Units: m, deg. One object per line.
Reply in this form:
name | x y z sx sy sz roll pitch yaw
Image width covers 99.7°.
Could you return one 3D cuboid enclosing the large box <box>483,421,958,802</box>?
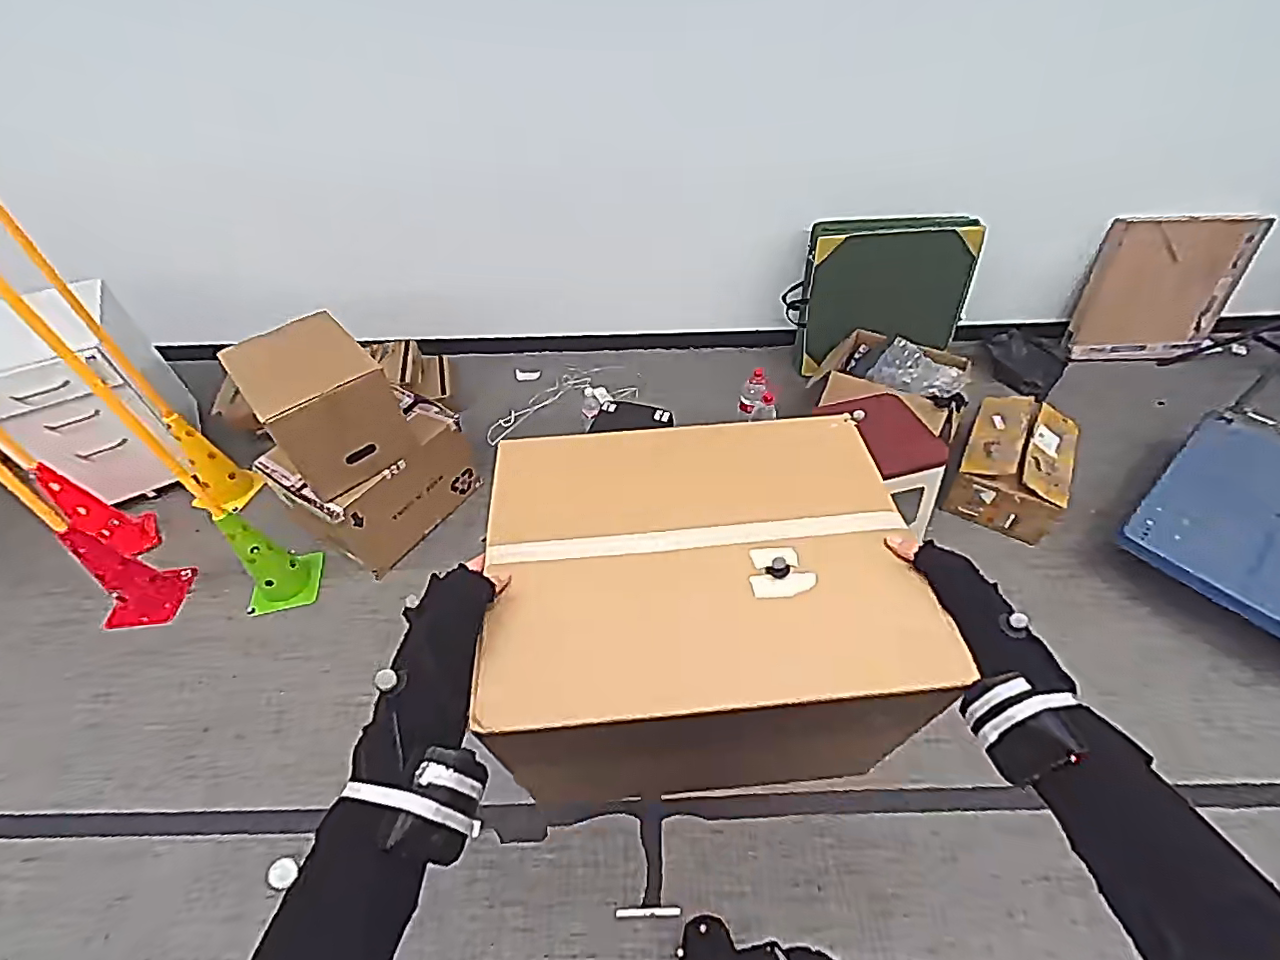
large box | 0.057 0.160 0.646 0.408 0.320 0.320 -5 50 -2
